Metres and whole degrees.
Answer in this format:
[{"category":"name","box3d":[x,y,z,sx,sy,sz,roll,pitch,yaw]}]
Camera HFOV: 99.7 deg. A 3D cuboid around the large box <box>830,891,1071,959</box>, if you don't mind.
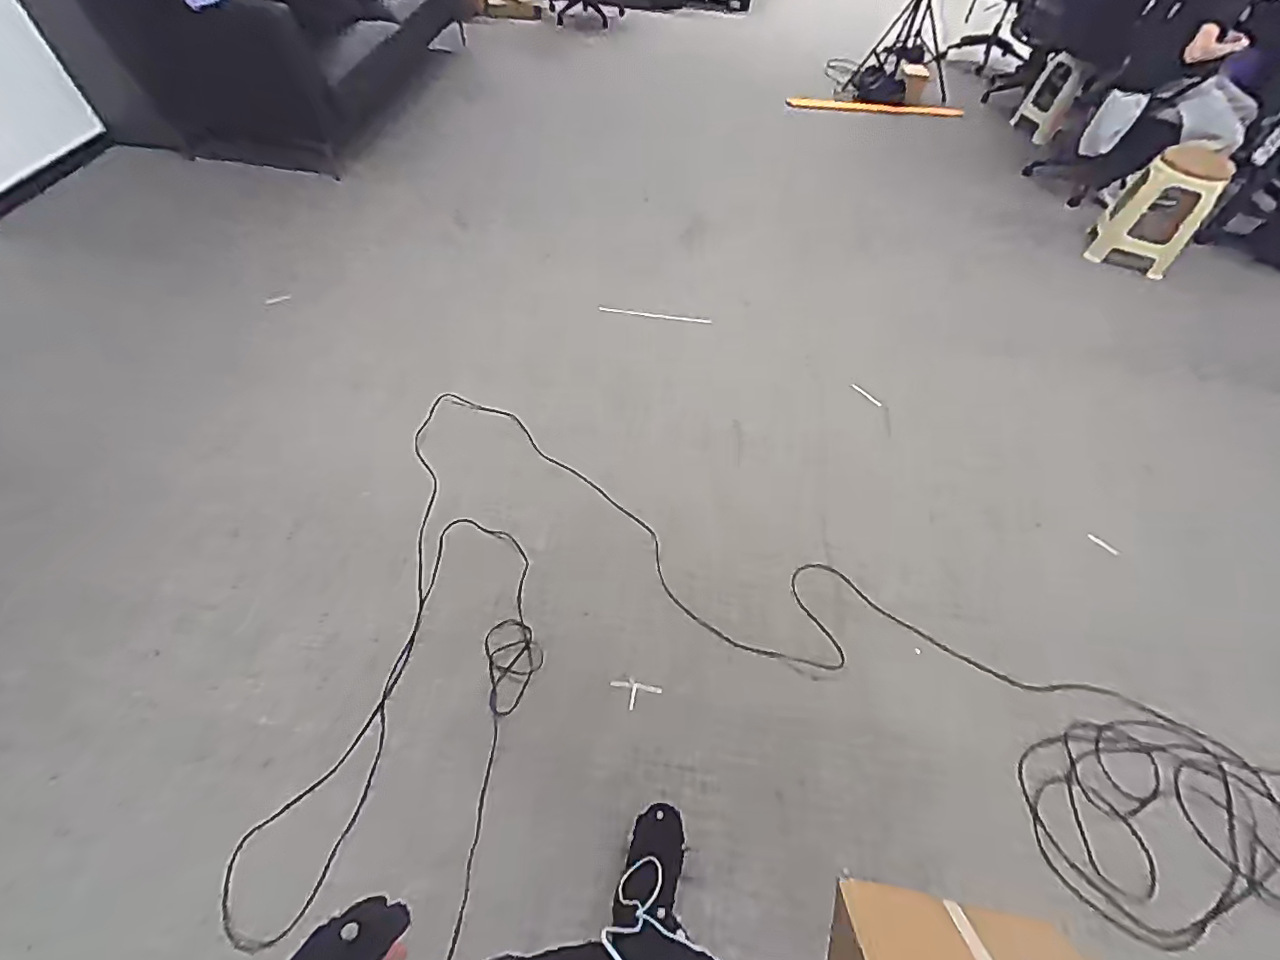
[{"category":"large box","box3d":[0.406,0.780,0.598,0.320,0.408,0.320,9,89,7]}]
